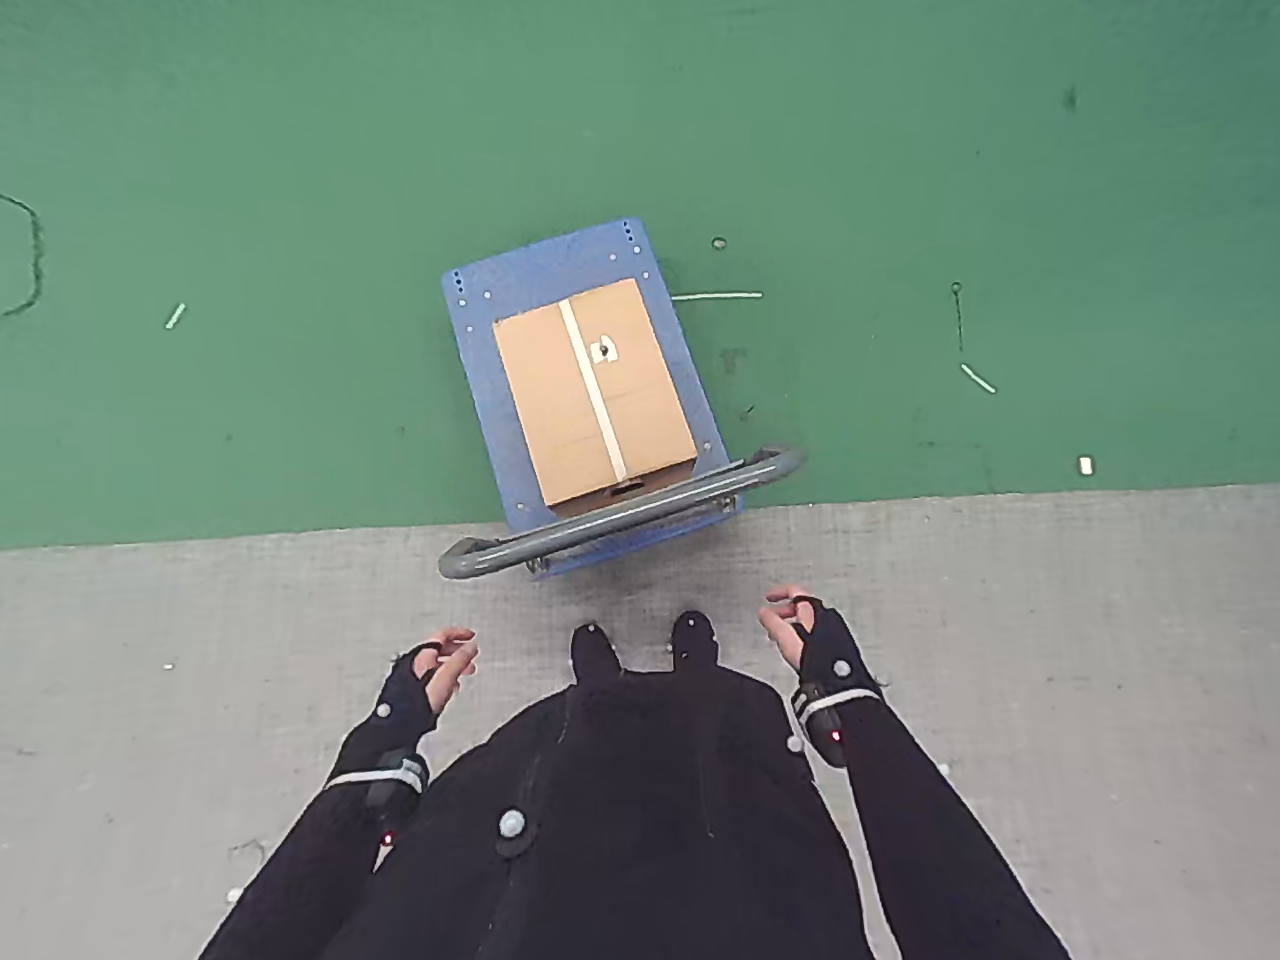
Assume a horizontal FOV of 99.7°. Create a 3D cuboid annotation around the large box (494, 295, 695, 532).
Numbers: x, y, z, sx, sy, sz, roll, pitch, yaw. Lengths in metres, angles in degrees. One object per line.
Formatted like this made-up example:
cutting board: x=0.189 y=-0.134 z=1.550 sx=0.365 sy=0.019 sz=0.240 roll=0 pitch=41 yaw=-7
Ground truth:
large box: x=-0.091 y=-0.131 z=1.239 sx=0.320 sy=0.320 sz=0.408 roll=-18 pitch=78 yaw=-2
